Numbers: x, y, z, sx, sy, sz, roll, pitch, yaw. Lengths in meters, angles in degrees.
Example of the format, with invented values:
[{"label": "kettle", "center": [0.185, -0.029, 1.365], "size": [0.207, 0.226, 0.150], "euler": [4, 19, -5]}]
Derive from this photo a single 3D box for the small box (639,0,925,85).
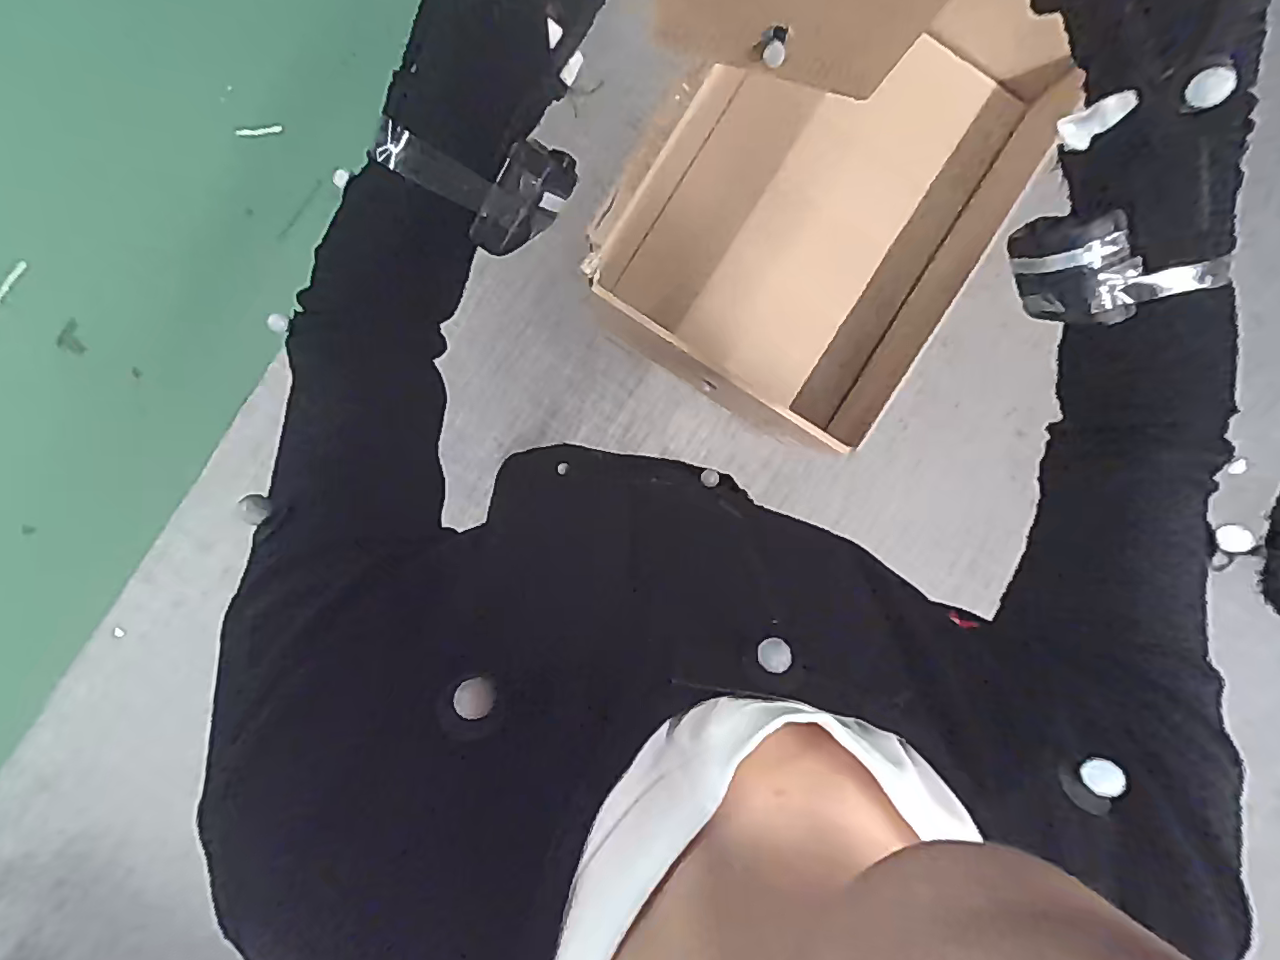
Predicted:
[{"label": "small box", "center": [0.103, -0.378, 0.318], "size": [0.179, 0.176, 0.168], "euler": [10, 95, -6]}]
